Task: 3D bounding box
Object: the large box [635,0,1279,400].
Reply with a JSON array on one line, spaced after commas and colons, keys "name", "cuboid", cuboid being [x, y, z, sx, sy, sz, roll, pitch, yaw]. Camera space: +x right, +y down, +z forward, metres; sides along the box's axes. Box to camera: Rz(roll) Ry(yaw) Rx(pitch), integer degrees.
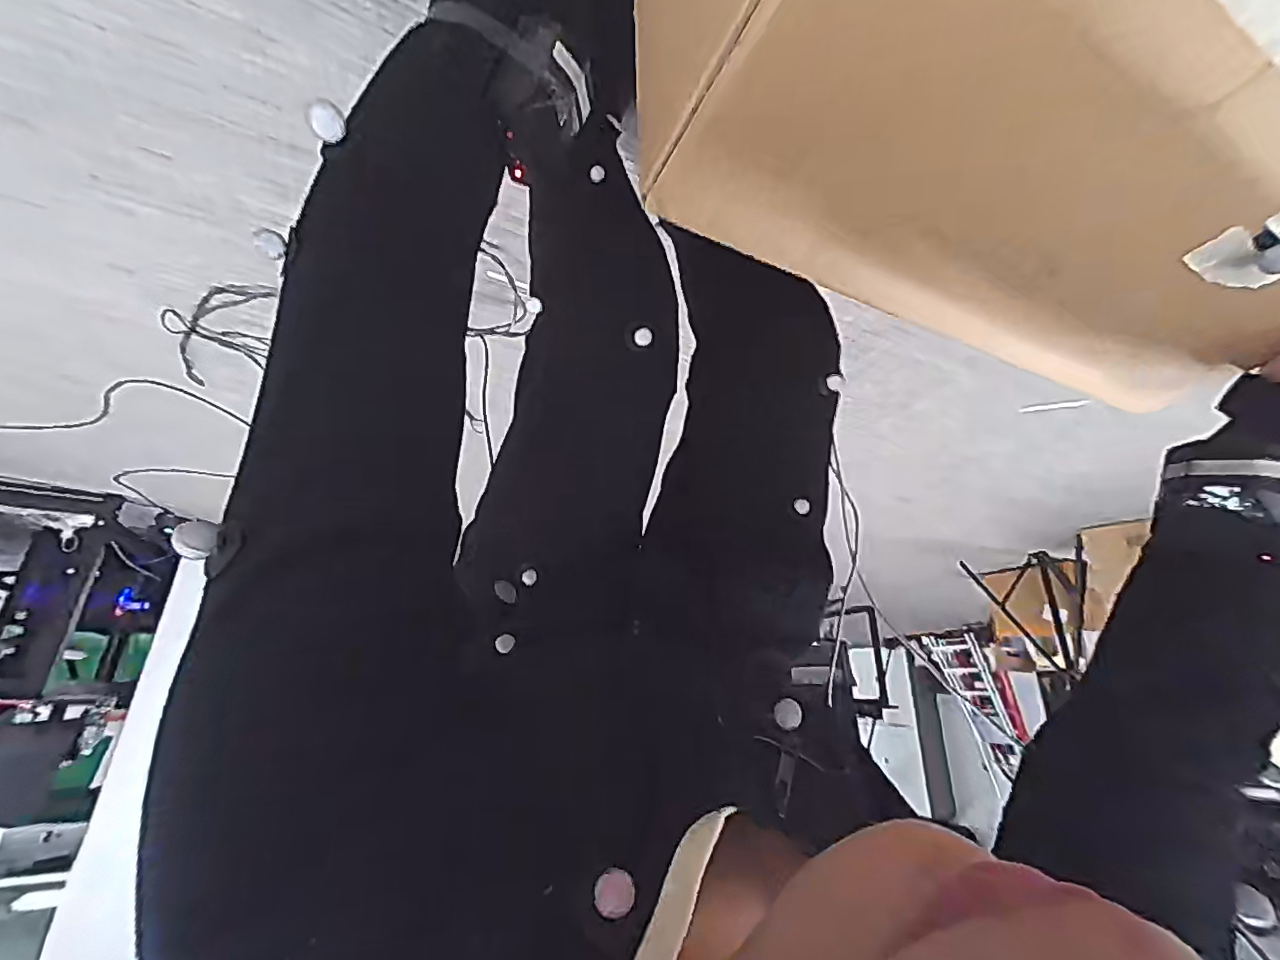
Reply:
[{"name": "large box", "cuboid": [0.237, -0.280, 0.253, 0.408, 0.320, 0.320, 9, 154, -24]}]
